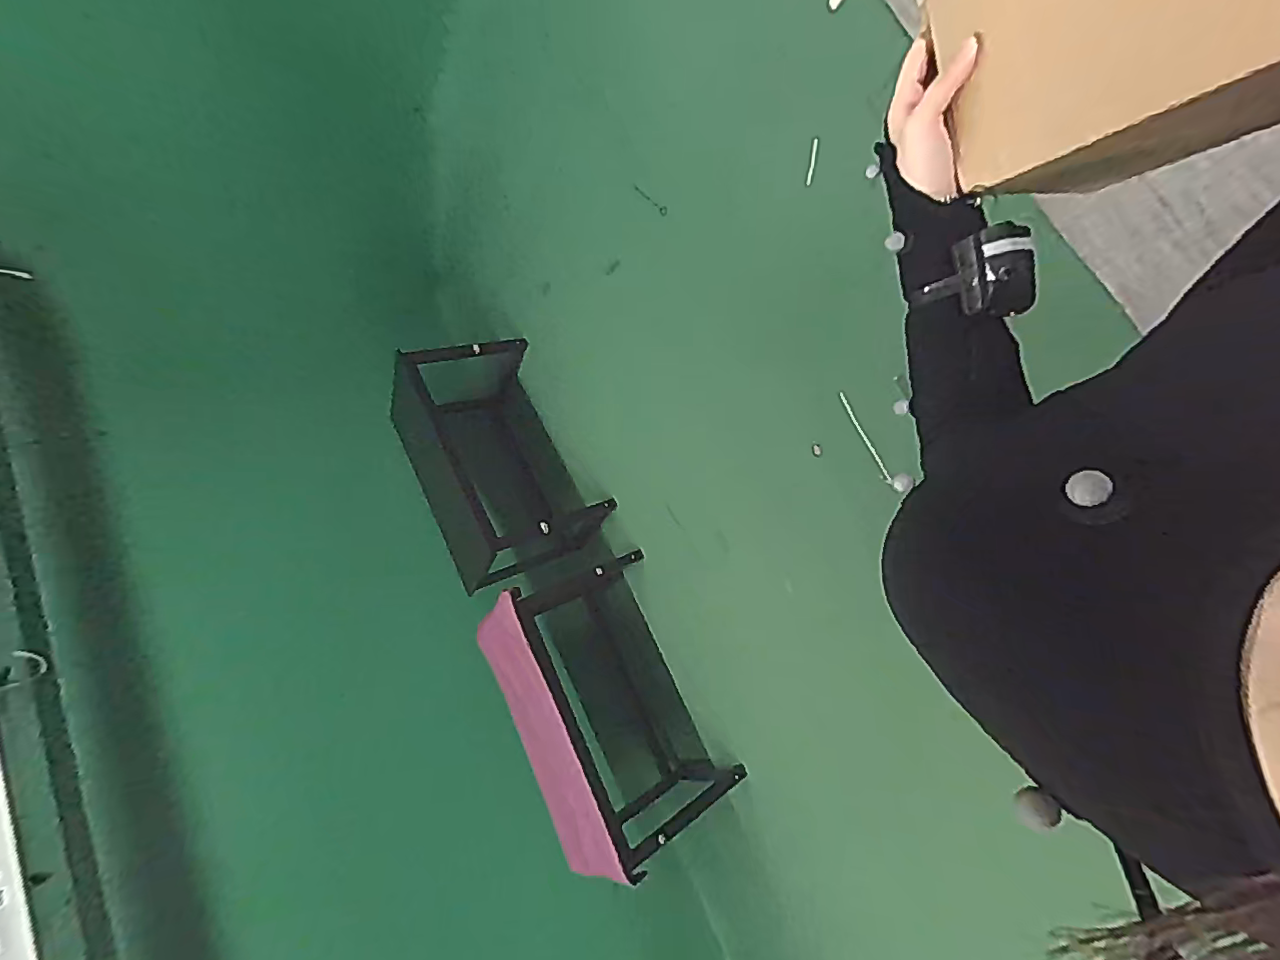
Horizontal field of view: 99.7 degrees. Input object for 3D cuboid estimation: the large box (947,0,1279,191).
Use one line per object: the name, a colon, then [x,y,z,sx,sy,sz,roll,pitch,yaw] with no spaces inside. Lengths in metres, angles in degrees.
large box: [0.455,-0.432,0.333,0.408,0.320,0.320,-5,103,53]
